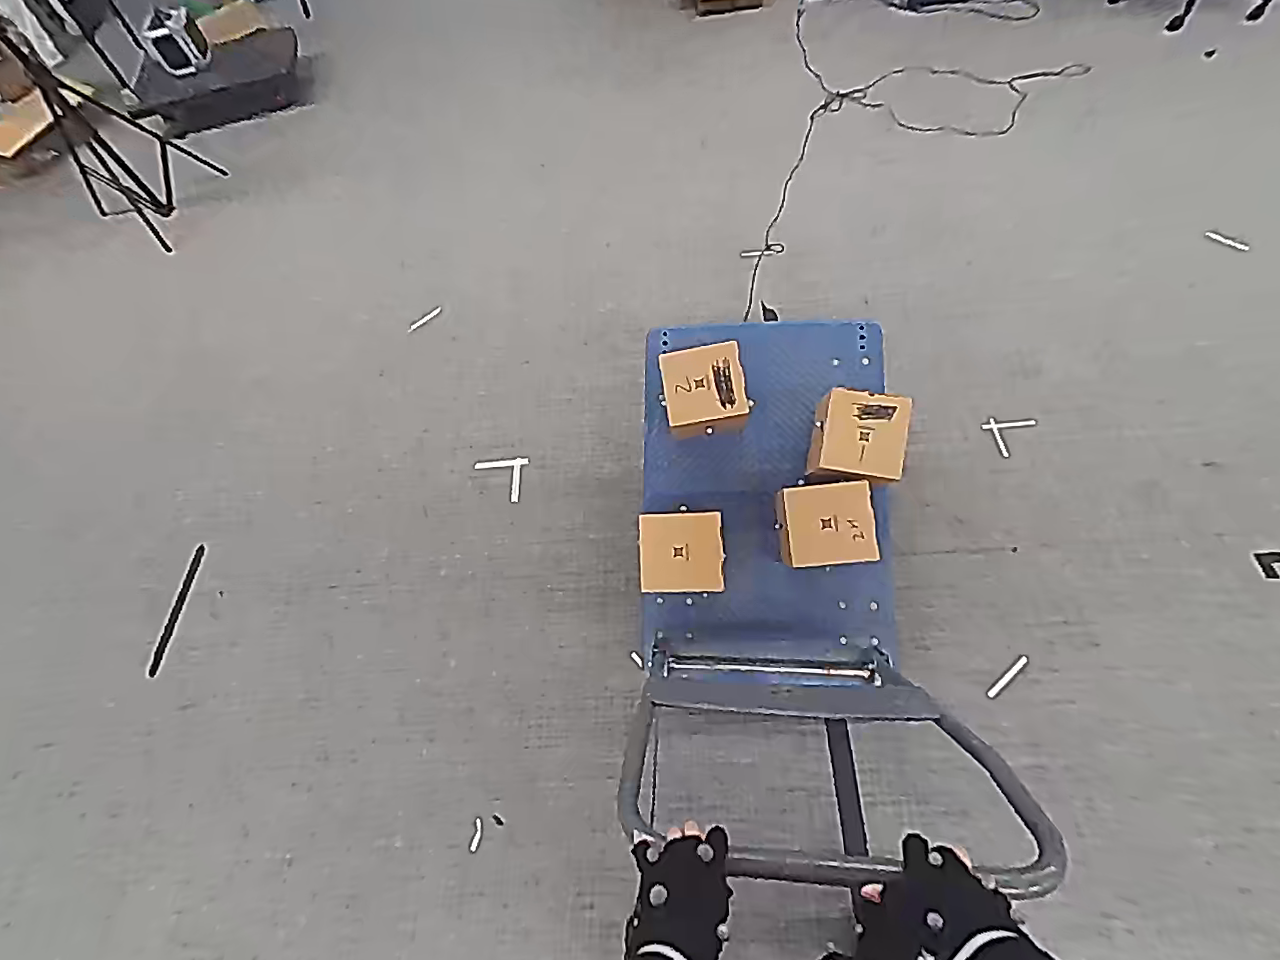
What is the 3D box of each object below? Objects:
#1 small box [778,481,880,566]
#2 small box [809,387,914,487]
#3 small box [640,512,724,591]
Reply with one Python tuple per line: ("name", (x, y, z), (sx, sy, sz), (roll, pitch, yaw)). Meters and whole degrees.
("small box", (0.402, 0.100, 1.182), (0.179, 0.176, 0.168), (-6, 83, 7))
("small box", (0.479, -0.088, 1.194), (0.168, 0.176, 0.179), (10, 86, 9))
("small box", (0.097, 0.161, 1.216), (0.179, 0.176, 0.168), (-2, 83, 6))
